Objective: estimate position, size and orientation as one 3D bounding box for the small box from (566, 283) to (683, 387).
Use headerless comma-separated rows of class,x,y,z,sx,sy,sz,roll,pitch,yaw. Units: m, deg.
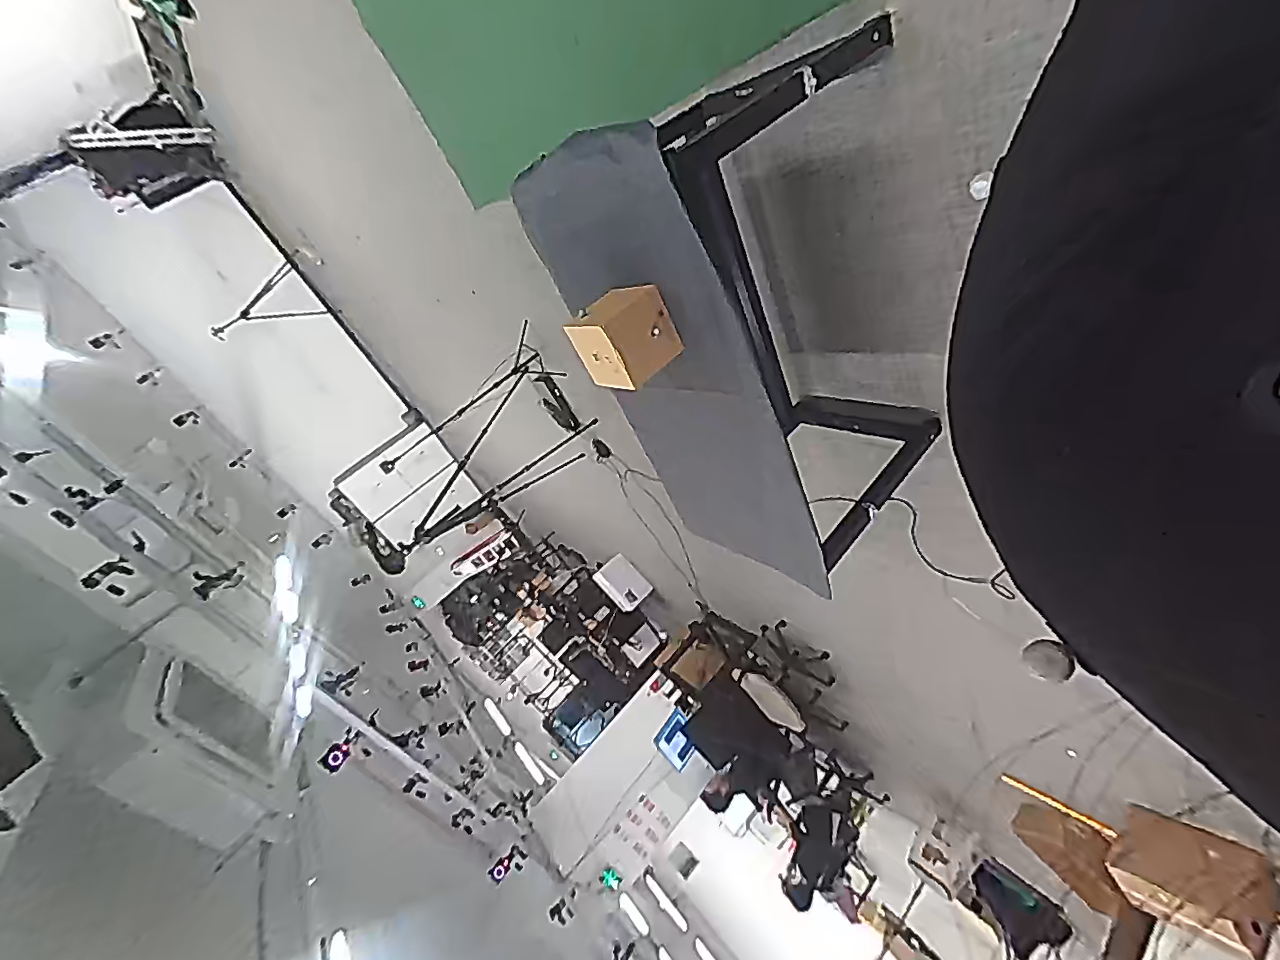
small box,-0.033,-0.338,1.255,0.179,0.176,0.168,20,147,51
